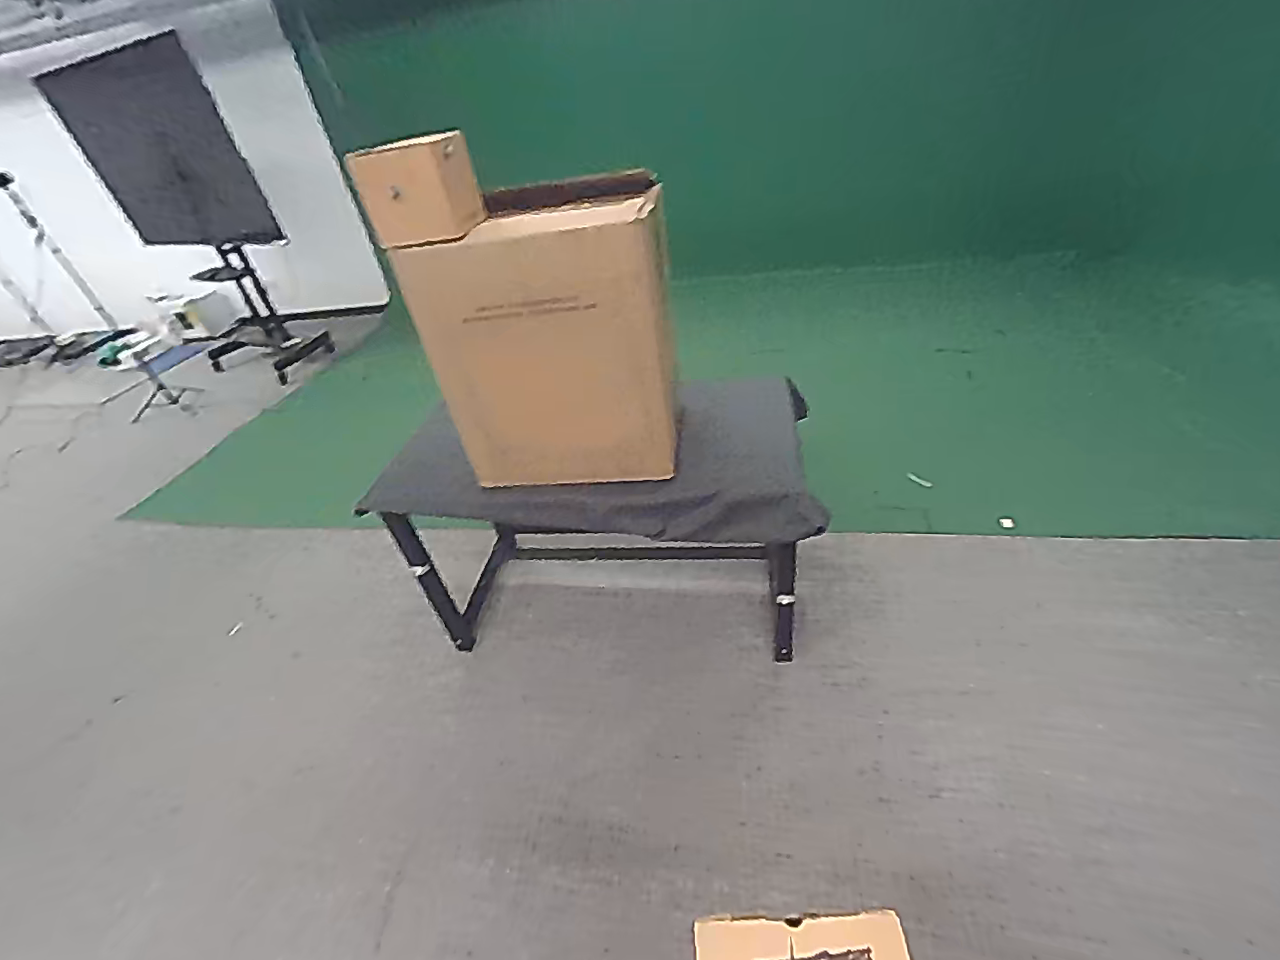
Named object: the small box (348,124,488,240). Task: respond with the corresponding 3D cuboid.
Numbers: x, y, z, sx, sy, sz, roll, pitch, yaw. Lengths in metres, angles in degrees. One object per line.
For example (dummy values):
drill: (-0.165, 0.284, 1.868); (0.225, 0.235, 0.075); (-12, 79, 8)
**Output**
small box: (-0.437, -0.600, 1.096); (0.179, 0.176, 0.168); (-3, 39, 11)
